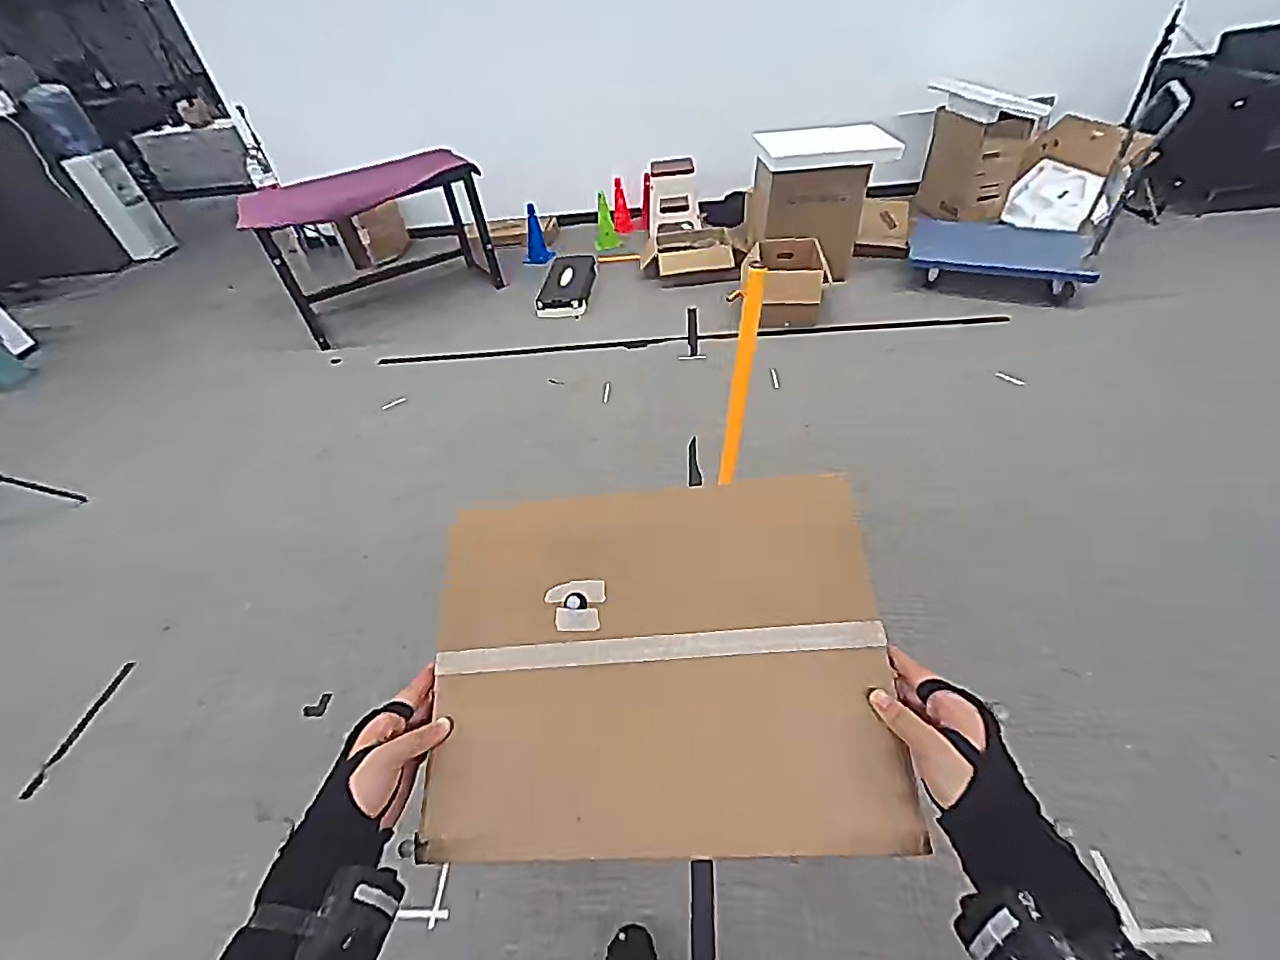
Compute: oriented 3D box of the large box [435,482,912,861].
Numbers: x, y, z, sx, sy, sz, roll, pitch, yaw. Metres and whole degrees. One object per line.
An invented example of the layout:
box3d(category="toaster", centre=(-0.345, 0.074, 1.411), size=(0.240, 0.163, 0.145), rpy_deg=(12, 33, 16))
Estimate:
box3d(category="large box", centre=(0.033, 0.227, 0.638), size=(0.408, 0.320, 0.320), rpy_deg=(-7, 62, 7))
